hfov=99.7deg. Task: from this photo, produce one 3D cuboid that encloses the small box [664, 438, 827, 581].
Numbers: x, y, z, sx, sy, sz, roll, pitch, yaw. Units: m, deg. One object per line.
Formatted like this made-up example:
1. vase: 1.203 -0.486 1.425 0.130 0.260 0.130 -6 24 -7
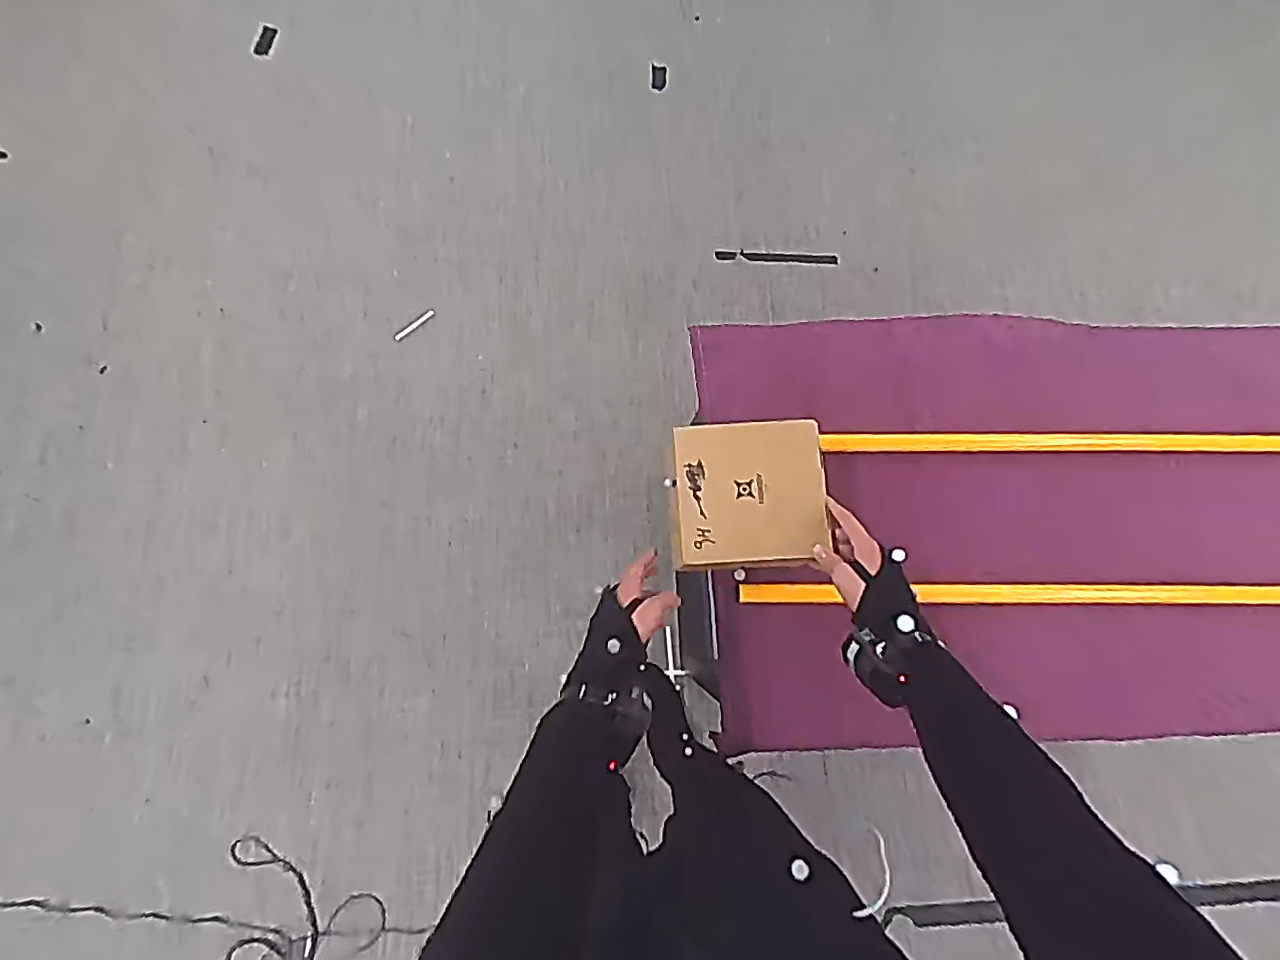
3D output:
1. small box: 0.127 0.046 0.717 0.179 0.176 0.168 -3 78 0
